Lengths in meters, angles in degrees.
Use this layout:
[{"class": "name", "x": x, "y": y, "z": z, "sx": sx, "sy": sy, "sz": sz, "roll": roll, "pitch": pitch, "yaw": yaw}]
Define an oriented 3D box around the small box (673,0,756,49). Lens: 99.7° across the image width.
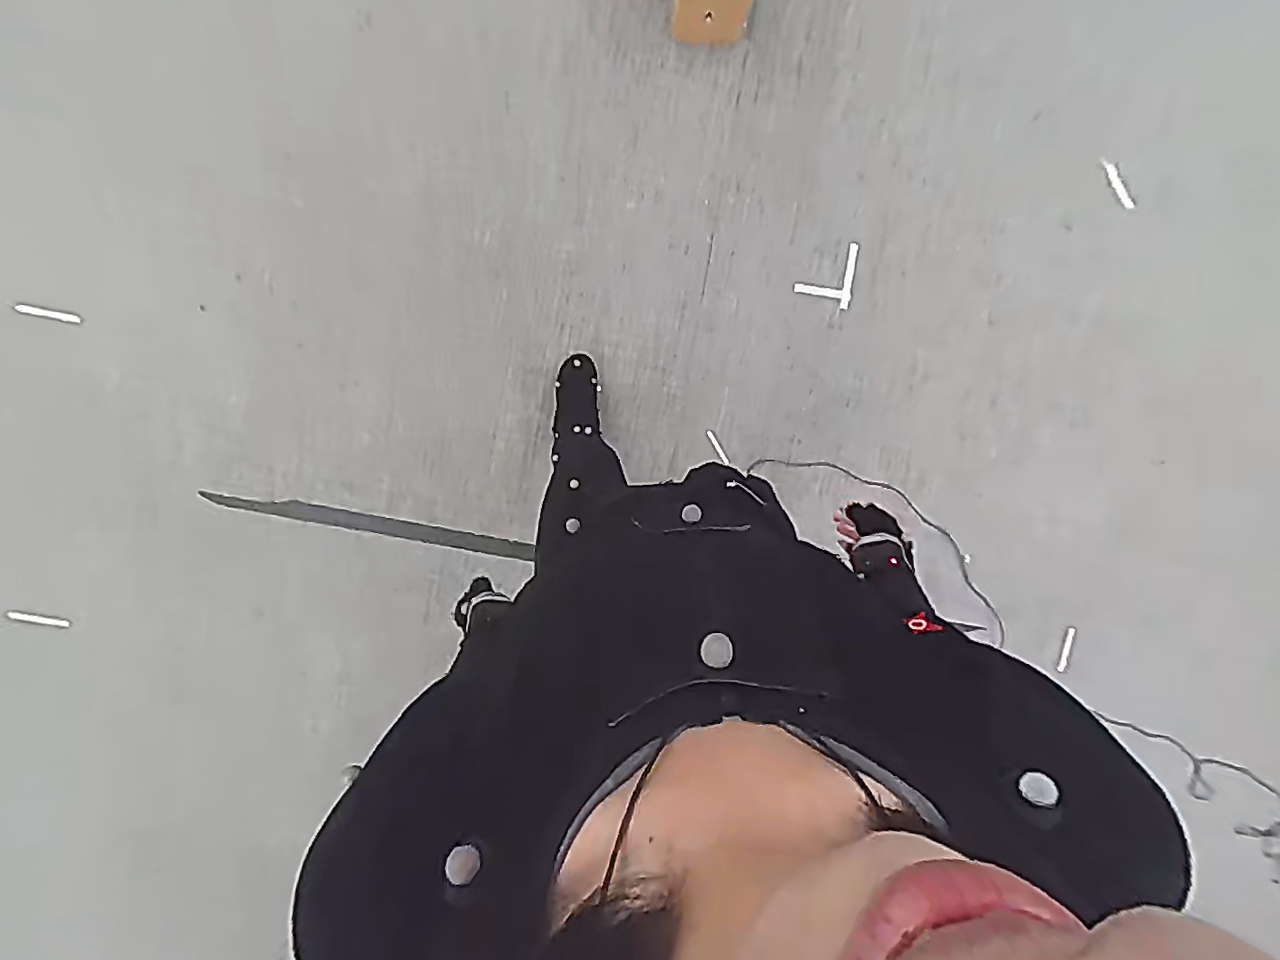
[{"class": "small box", "x": 0.180, "y": -1.187, "z": 1.306, "sx": 0.179, "sy": 0.176, "sz": 0.168, "roll": 2, "pitch": 95, "yaw": -2}]
